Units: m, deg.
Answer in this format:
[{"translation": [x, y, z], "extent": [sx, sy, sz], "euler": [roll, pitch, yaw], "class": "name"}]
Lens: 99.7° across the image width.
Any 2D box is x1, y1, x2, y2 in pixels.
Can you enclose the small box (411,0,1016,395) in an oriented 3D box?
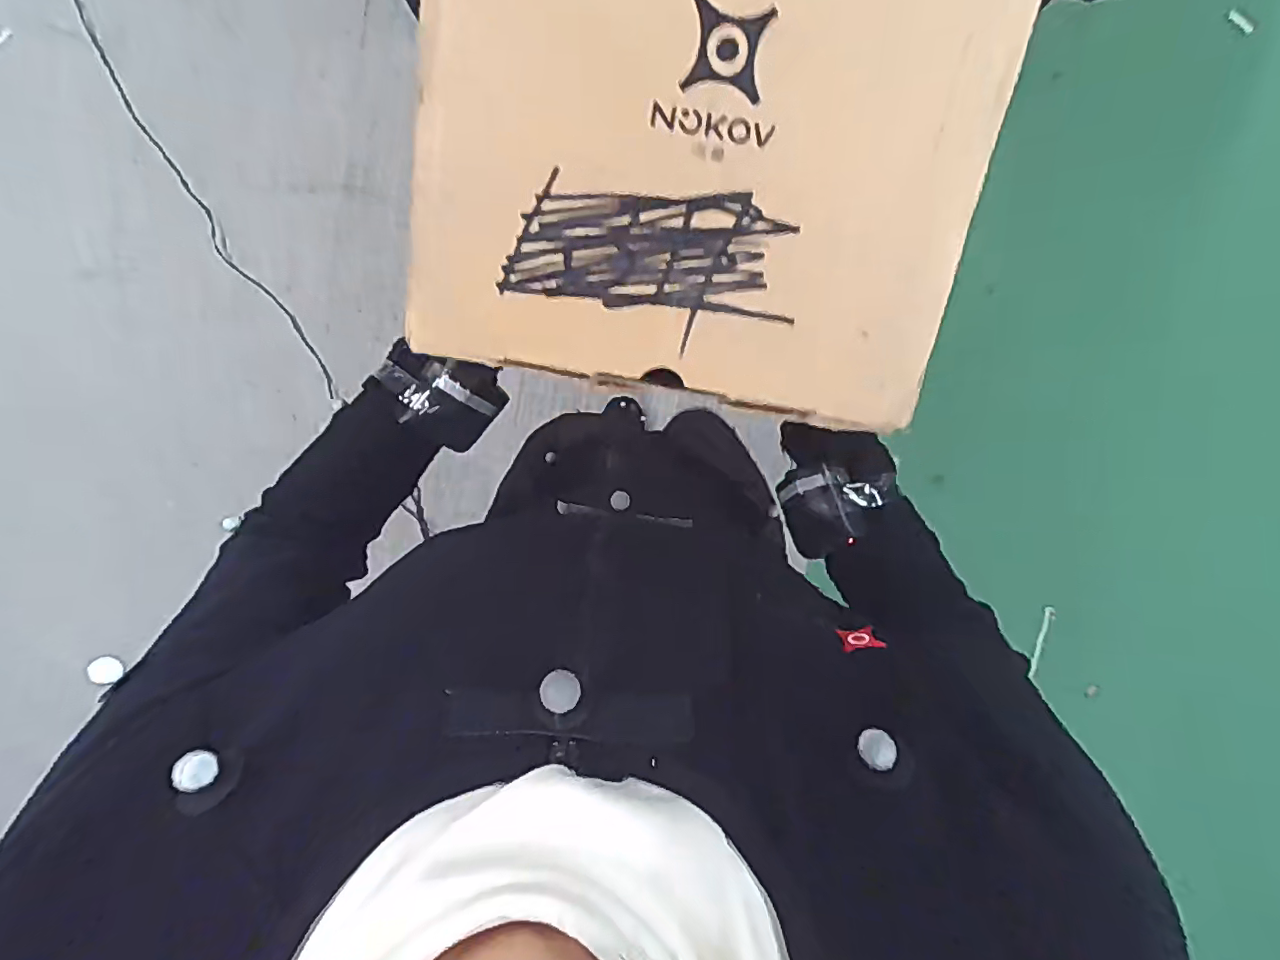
[{"translation": [0.020, -0.146, 0.232], "extent": [0.168, 0.176, 0.179], "euler": [10, 106, -4], "class": "small box"}]
